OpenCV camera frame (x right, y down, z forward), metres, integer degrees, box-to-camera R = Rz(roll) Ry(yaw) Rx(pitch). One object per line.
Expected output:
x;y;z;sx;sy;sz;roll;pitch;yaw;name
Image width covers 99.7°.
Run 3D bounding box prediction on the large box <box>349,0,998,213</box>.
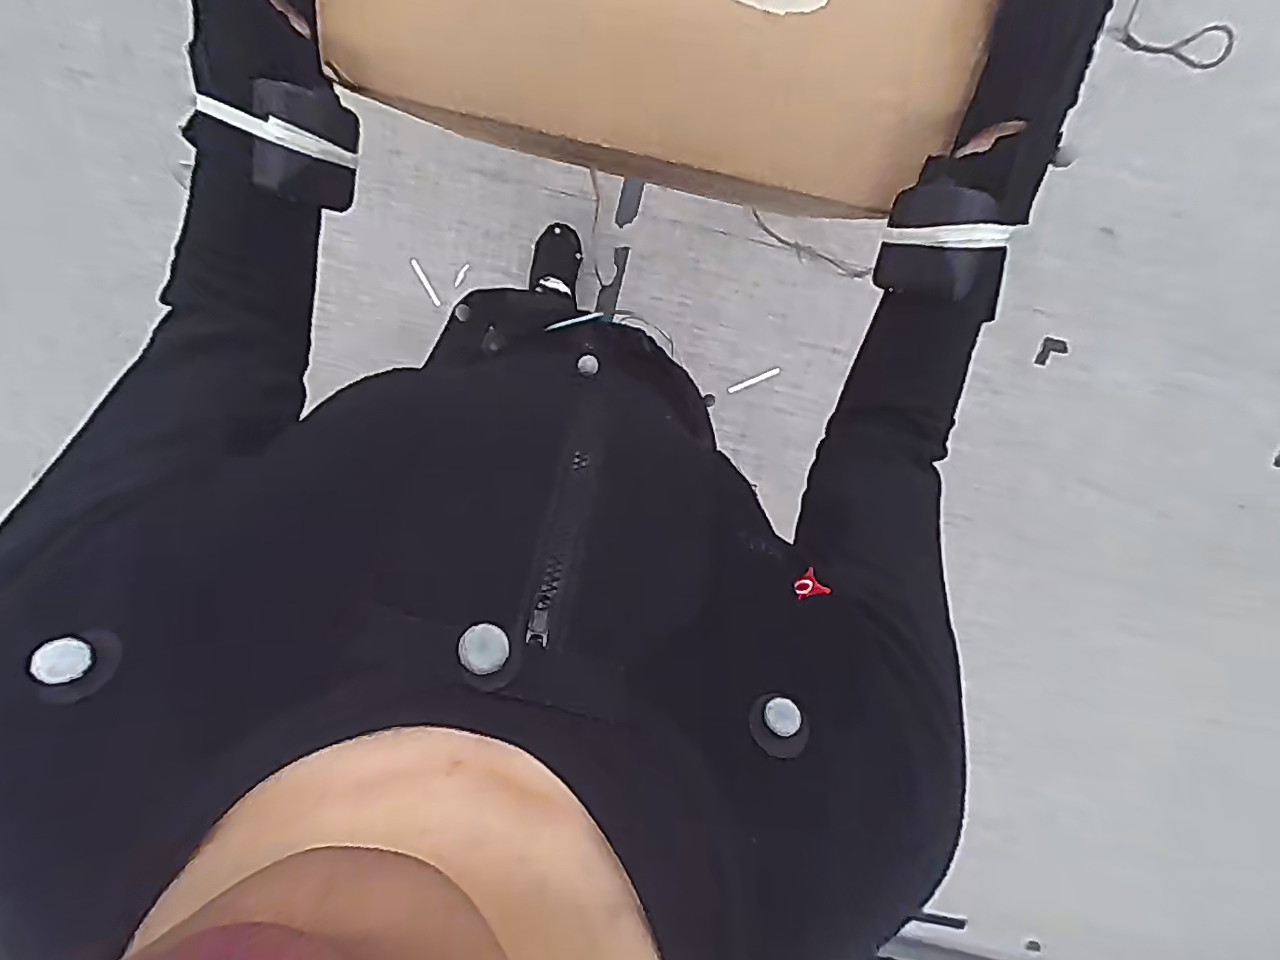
0.031;-0.423;0.438;0.408;0.320;0.320;10;117;-6;large box
